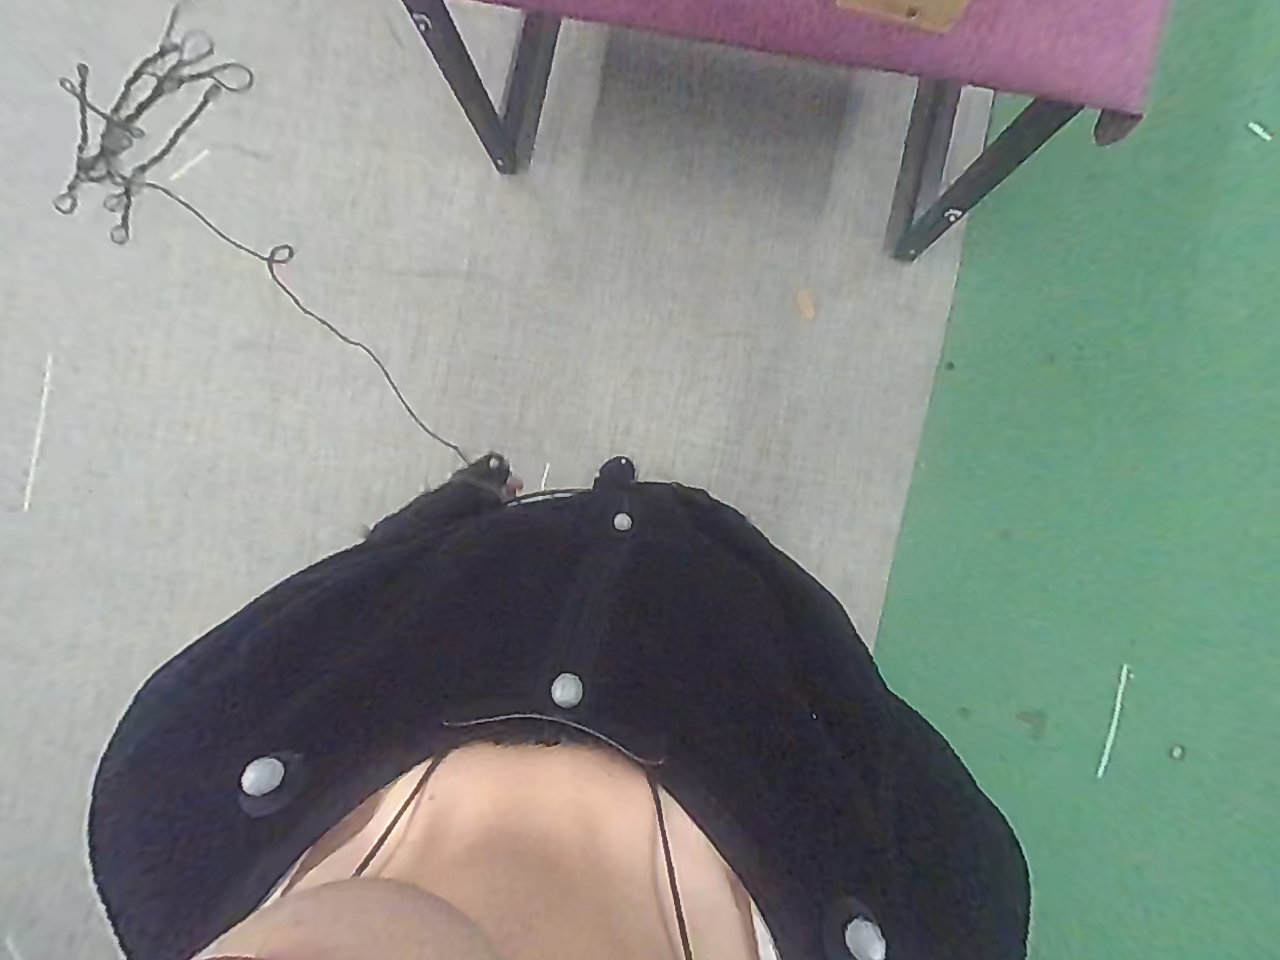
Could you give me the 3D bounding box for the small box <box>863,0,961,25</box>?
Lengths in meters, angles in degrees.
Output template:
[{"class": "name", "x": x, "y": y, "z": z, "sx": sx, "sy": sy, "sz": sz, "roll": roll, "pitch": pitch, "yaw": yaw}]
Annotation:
[{"class": "small box", "x": 0.374, "y": -0.735, "z": 0.680, "sx": 0.168, "sy": 0.176, "sz": 0.179, "roll": 18, "pitch": 91, "yaw": 2}]
